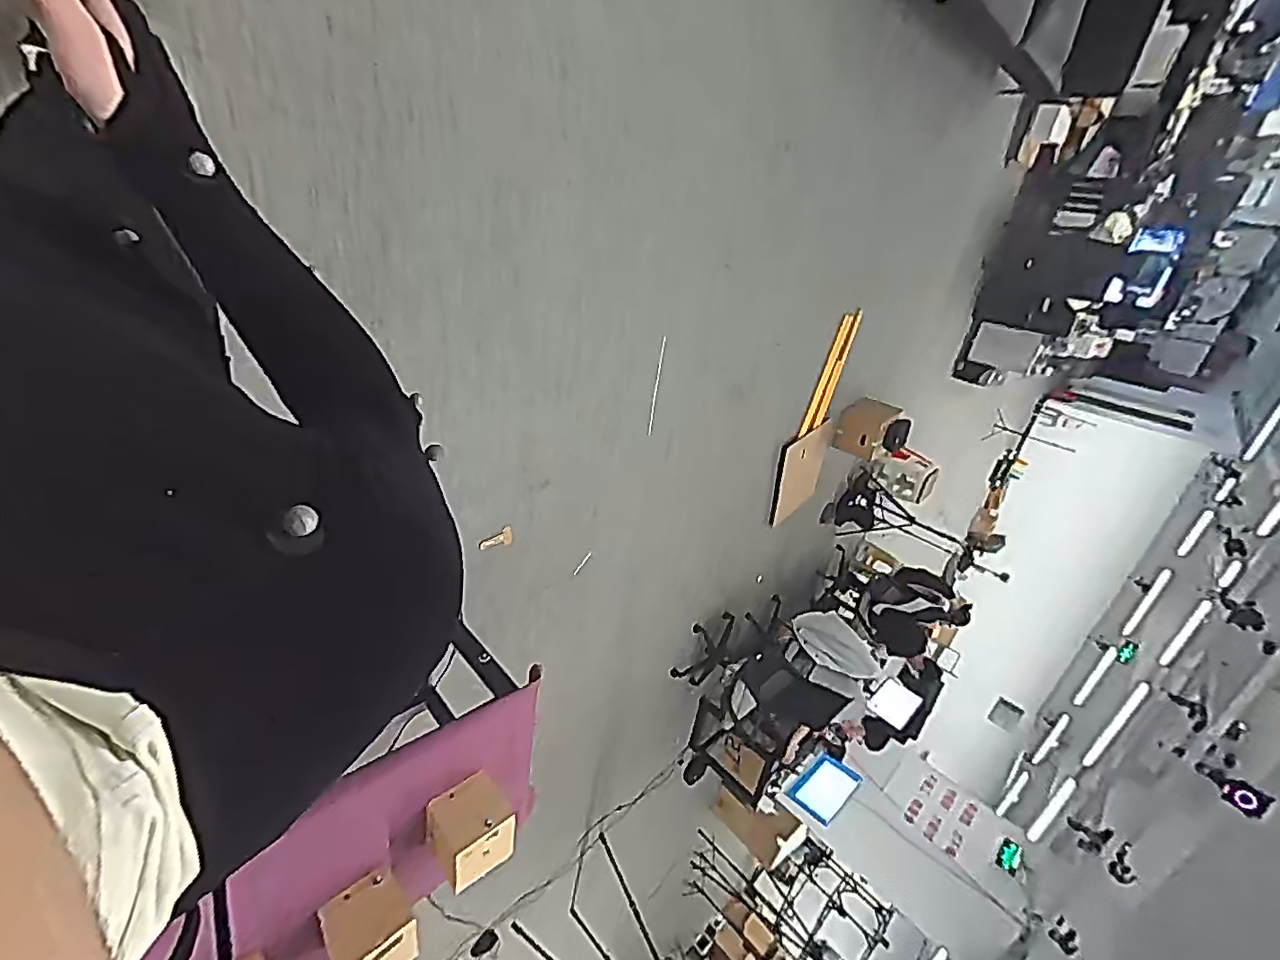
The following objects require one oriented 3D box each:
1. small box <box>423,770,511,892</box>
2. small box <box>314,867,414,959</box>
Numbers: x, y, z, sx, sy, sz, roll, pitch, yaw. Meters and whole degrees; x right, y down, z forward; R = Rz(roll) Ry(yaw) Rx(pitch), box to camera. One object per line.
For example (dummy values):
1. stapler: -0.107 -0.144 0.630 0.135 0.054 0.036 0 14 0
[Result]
1. small box: -0.463 0.922 1.435 0.168 0.176 0.179 -16 125 -42
2. small box: -0.670 1.095 1.315 0.168 0.176 0.179 -17 127 -42
